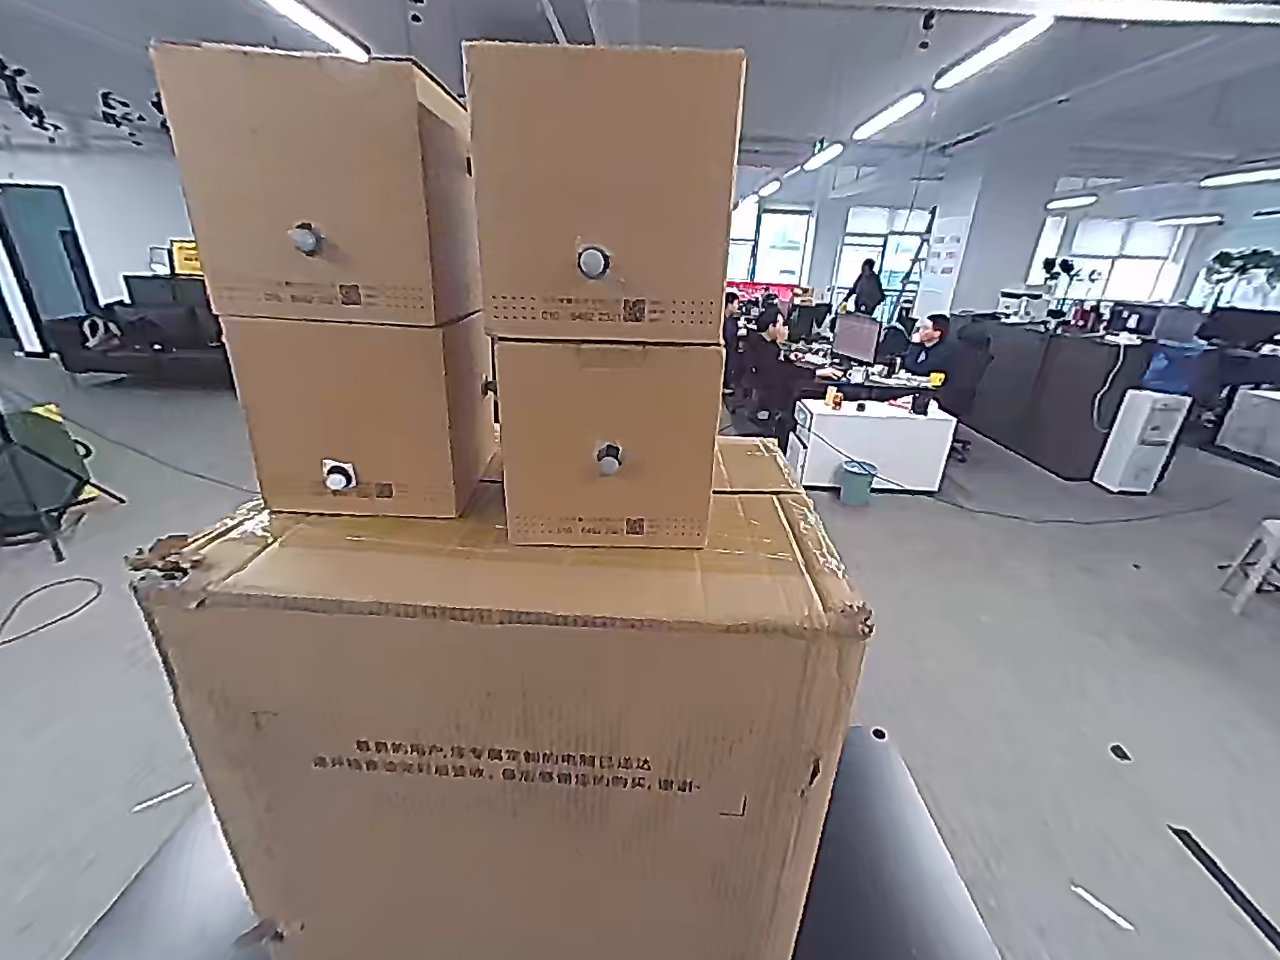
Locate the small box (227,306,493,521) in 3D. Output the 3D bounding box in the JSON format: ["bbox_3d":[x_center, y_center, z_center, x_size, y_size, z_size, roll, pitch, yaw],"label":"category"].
[{"bbox_3d":[-0.238,-0.075,0.514,0.168,0.176,0.179,1,24,-5],"label":"small box"}]

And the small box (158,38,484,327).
[{"bbox_3d":[-0.231,-0.227,0.449,0.168,0.176,0.179,2,23,-2],"label":"small box"}]

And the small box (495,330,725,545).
[{"bbox_3d":[-0.026,-0.053,0.483,0.168,0.176,0.179,2,23,-4],"label":"small box"}]

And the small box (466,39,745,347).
[{"bbox_3d":[-0.022,-0.204,0.416,0.168,0.176,0.179,1,23,0],"label":"small box"}]
